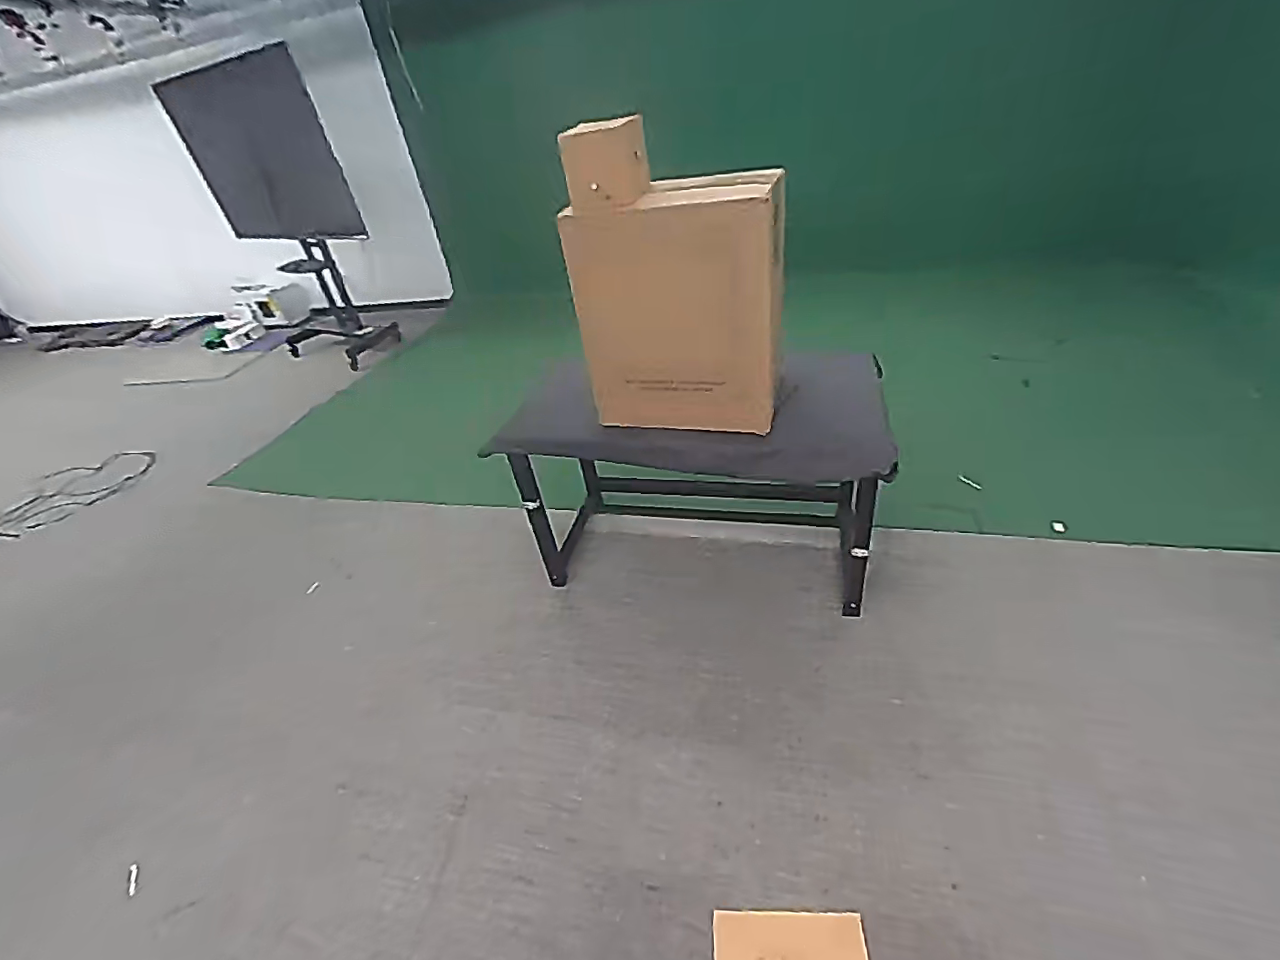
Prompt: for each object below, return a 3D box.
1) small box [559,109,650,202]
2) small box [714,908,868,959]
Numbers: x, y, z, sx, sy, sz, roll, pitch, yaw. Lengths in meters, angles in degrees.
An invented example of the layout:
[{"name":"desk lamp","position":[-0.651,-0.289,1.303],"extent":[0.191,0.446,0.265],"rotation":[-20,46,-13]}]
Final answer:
[{"name":"small box","position":[-0.079,-0.808,1.350],"extent":[0.168,0.176,0.179],"rotation":[5,41,20]},{"name":"small box","position":[0.175,0.608,0.594],"extent":[0.168,0.176,0.179],"rotation":[-7,33,9]}]
